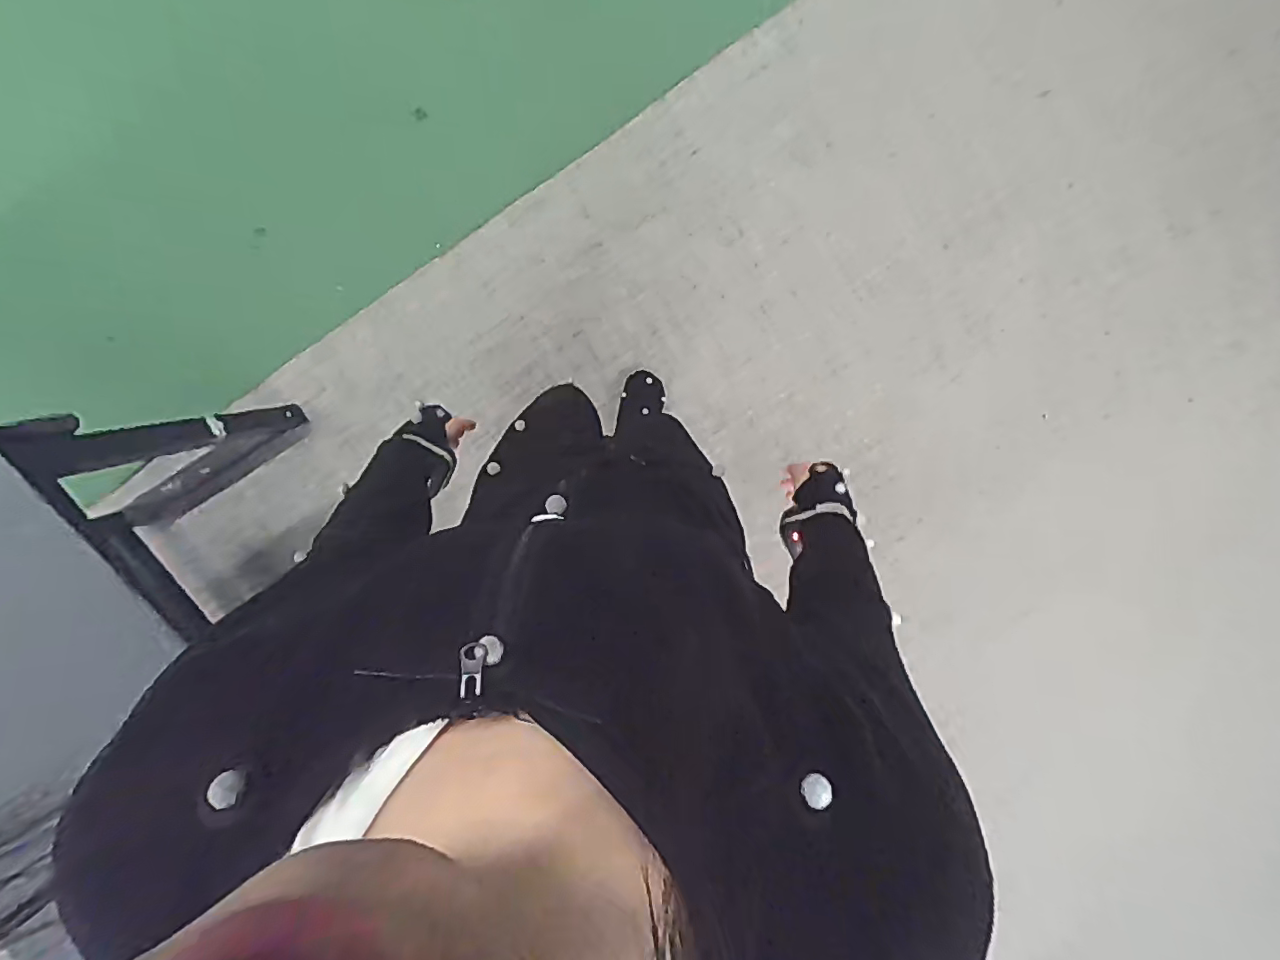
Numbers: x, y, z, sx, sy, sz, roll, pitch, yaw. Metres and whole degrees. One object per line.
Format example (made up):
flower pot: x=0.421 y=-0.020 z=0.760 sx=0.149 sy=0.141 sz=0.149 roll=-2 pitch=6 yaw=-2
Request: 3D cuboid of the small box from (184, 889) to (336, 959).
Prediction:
small box: x=-0.614 y=0.793 z=0.844 sx=0.179 sy=0.176 sz=0.168 roll=-25 pitch=102 yaw=5
